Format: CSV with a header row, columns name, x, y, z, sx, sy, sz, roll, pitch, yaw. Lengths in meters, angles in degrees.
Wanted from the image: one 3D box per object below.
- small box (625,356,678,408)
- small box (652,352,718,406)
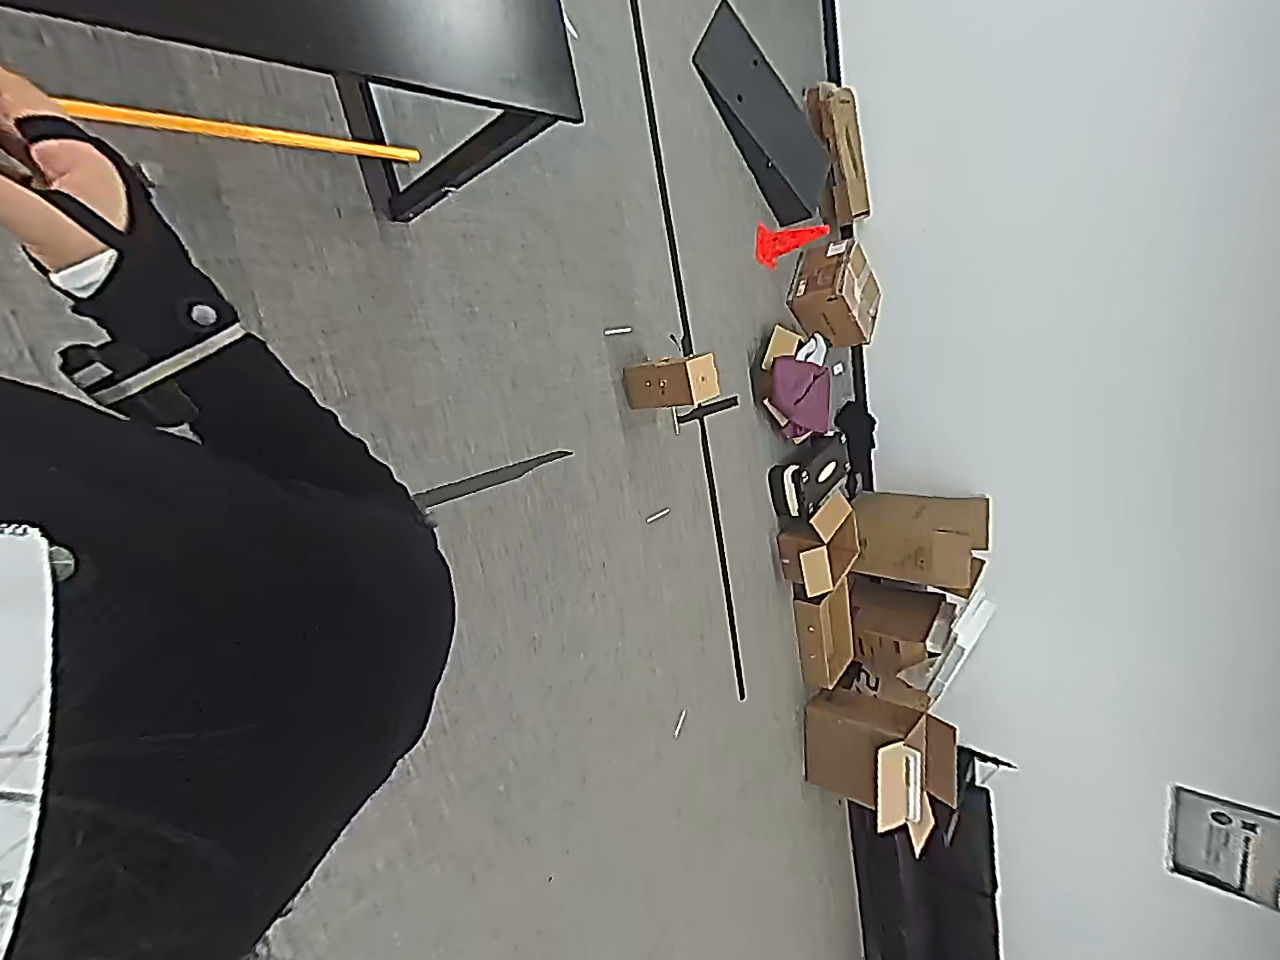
name,x,y,z,sx,sy,sz,roll,pitch,yaw
small box,0.056,-0.397,2.198,0.168,0.176,0.179,-26,111,-43
small box,0.174,-0.387,2.086,0.179,0.176,0.168,-28,111,-42
